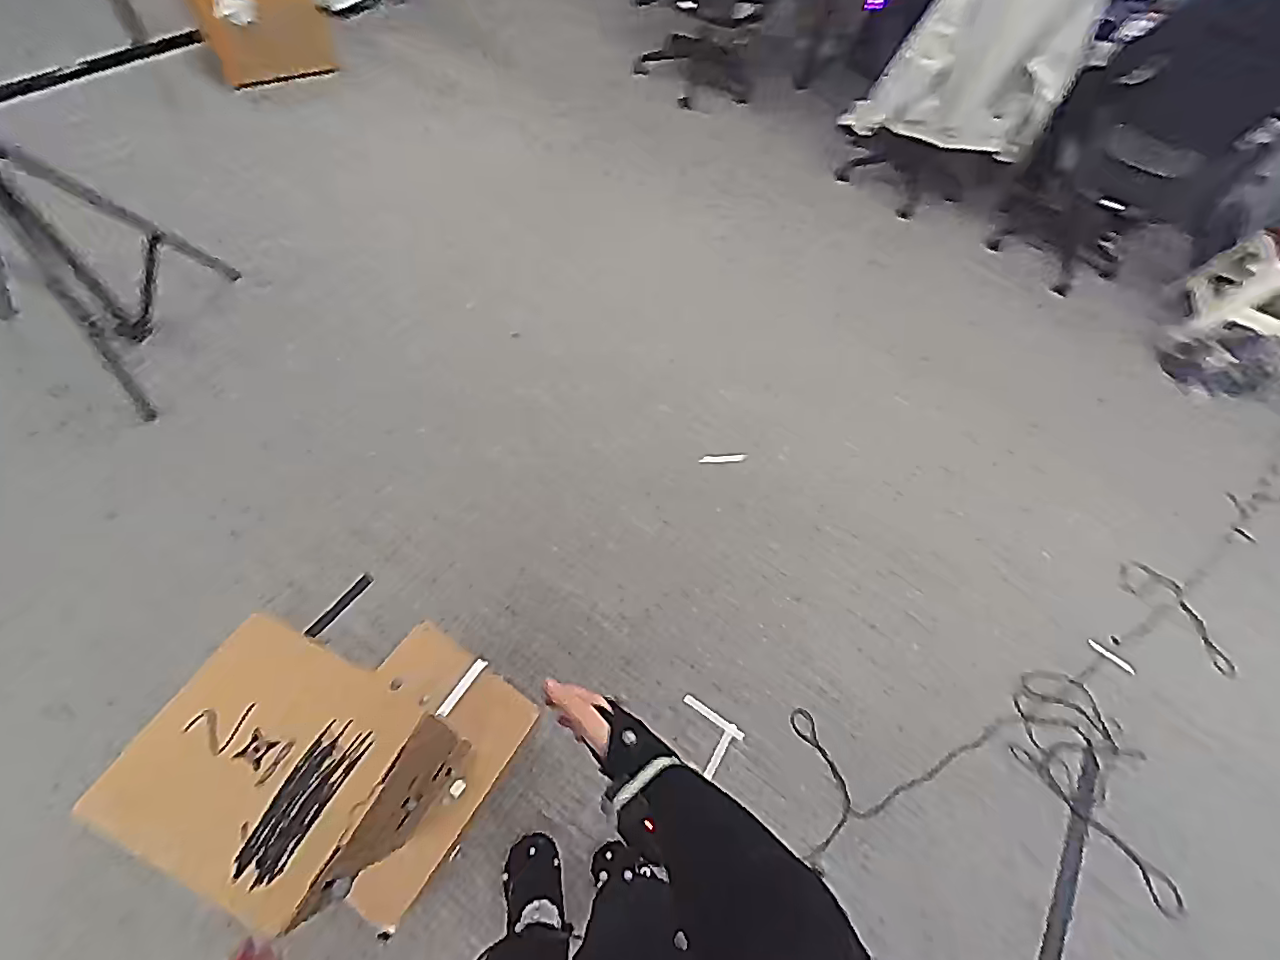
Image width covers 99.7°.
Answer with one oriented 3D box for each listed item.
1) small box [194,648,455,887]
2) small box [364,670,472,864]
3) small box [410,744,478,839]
[{"bbox_3d":[-0.335,0.322,0.623,0.179,0.176,0.168,28,59,4],"label":"small box"},{"bbox_3d":[-0.360,0.399,0.767,0.179,0.176,0.168,31,59,7],"label":"small box"},{"bbox_3d":[-0.395,0.476,0.905,0.179,0.176,0.168,33,61,7],"label":"small box"}]
